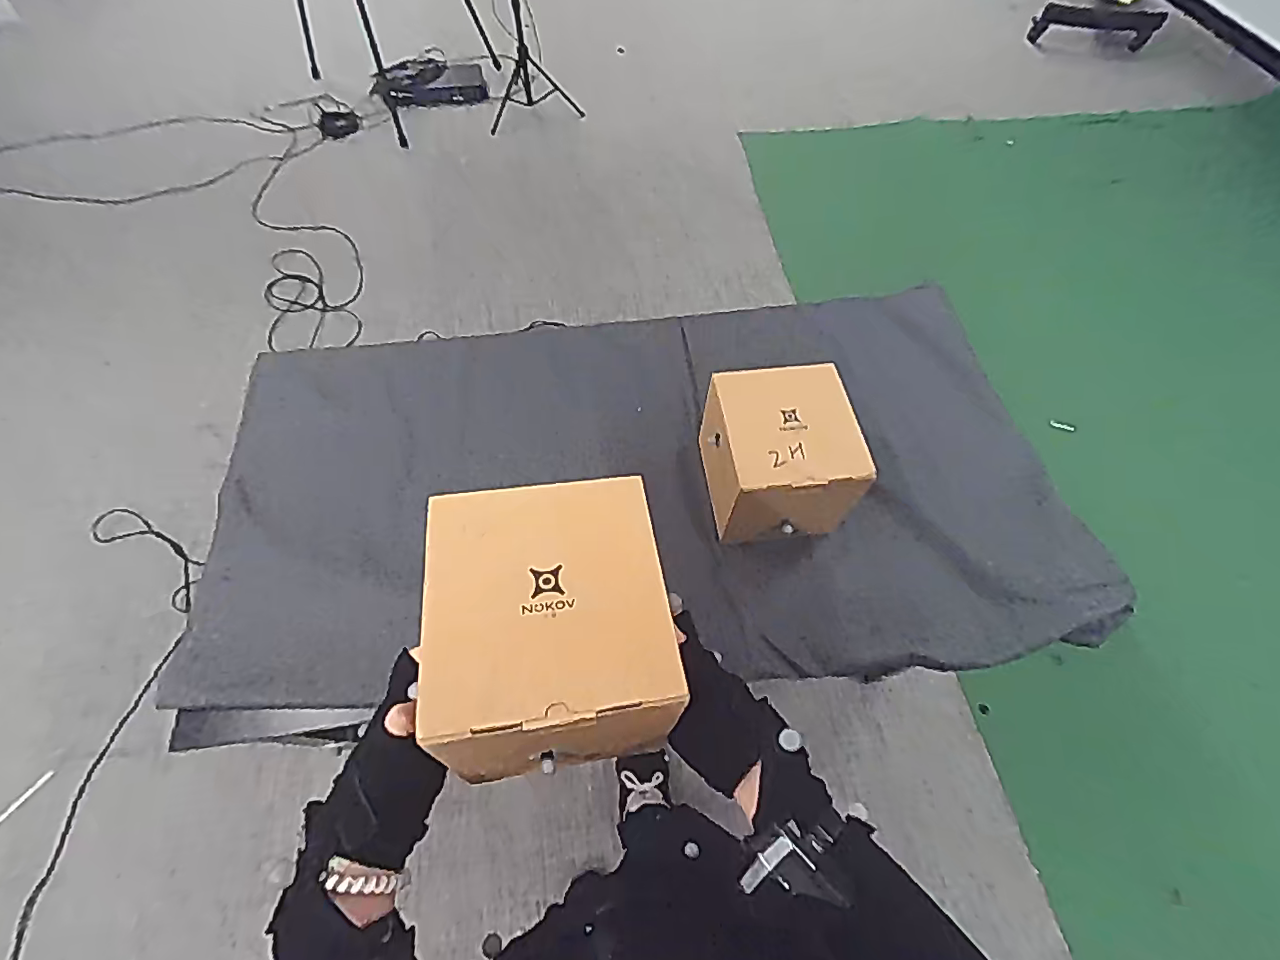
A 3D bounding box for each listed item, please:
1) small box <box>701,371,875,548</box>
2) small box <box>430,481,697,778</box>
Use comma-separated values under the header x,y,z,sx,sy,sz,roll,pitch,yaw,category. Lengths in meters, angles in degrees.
x,y,z,sx,sy,sz,roll,pitch,yaw,category
0.184,-0.024,0.738,0.168,0.176,0.179,-5,61,-5,small box
-0.066,0.123,0.440,0.168,0.176,0.179,-5,56,-11,small box
